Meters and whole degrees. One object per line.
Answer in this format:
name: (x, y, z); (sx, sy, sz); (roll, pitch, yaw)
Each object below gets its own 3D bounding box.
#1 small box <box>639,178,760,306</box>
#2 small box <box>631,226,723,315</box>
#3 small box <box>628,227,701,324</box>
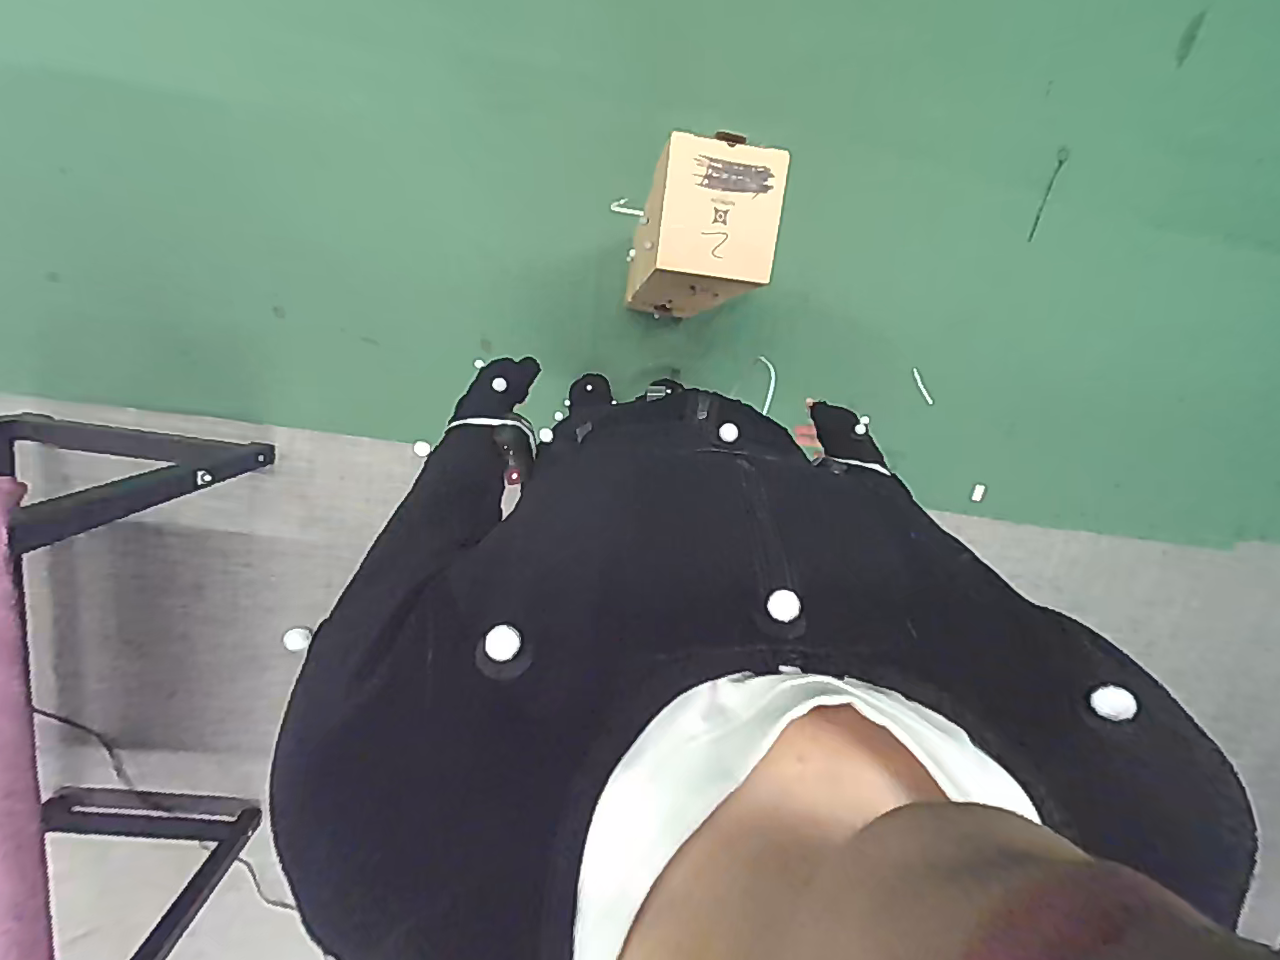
small box: (0.096, -0.416, 0.977); (0.179, 0.176, 0.168); (7, 101, -7)
small box: (0.086, -0.449, 1.134); (0.179, 0.176, 0.168); (10, 100, -7)
small box: (0.066, -0.482, 1.296); (0.168, 0.176, 0.179); (8, 102, -6)
